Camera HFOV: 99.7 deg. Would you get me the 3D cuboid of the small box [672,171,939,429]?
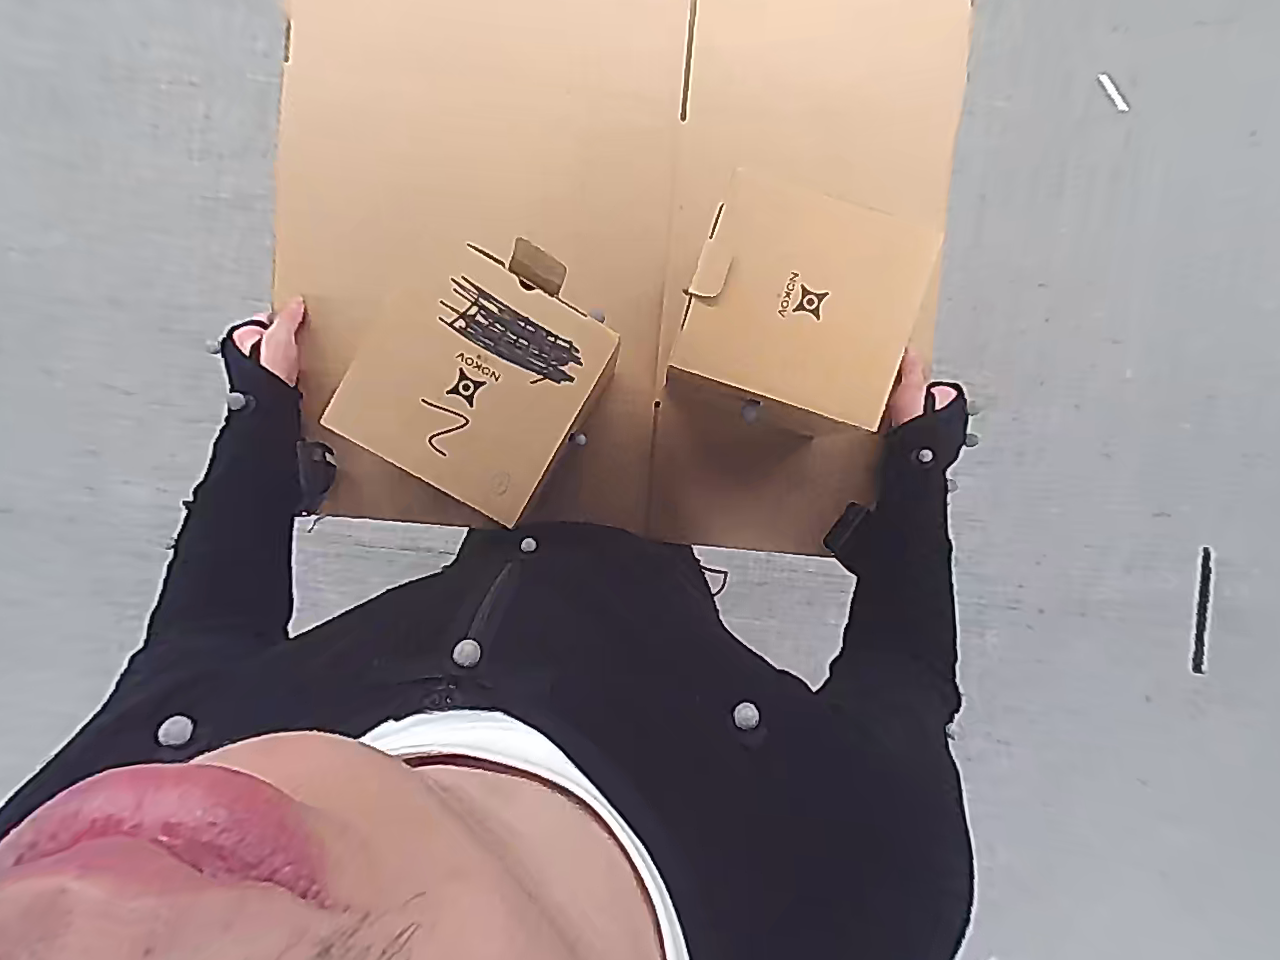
[{"bbox_3d":[0.137,-0.152,0.519,0.179,0.176,0.168,18,93,2],"label":"small box"}]
